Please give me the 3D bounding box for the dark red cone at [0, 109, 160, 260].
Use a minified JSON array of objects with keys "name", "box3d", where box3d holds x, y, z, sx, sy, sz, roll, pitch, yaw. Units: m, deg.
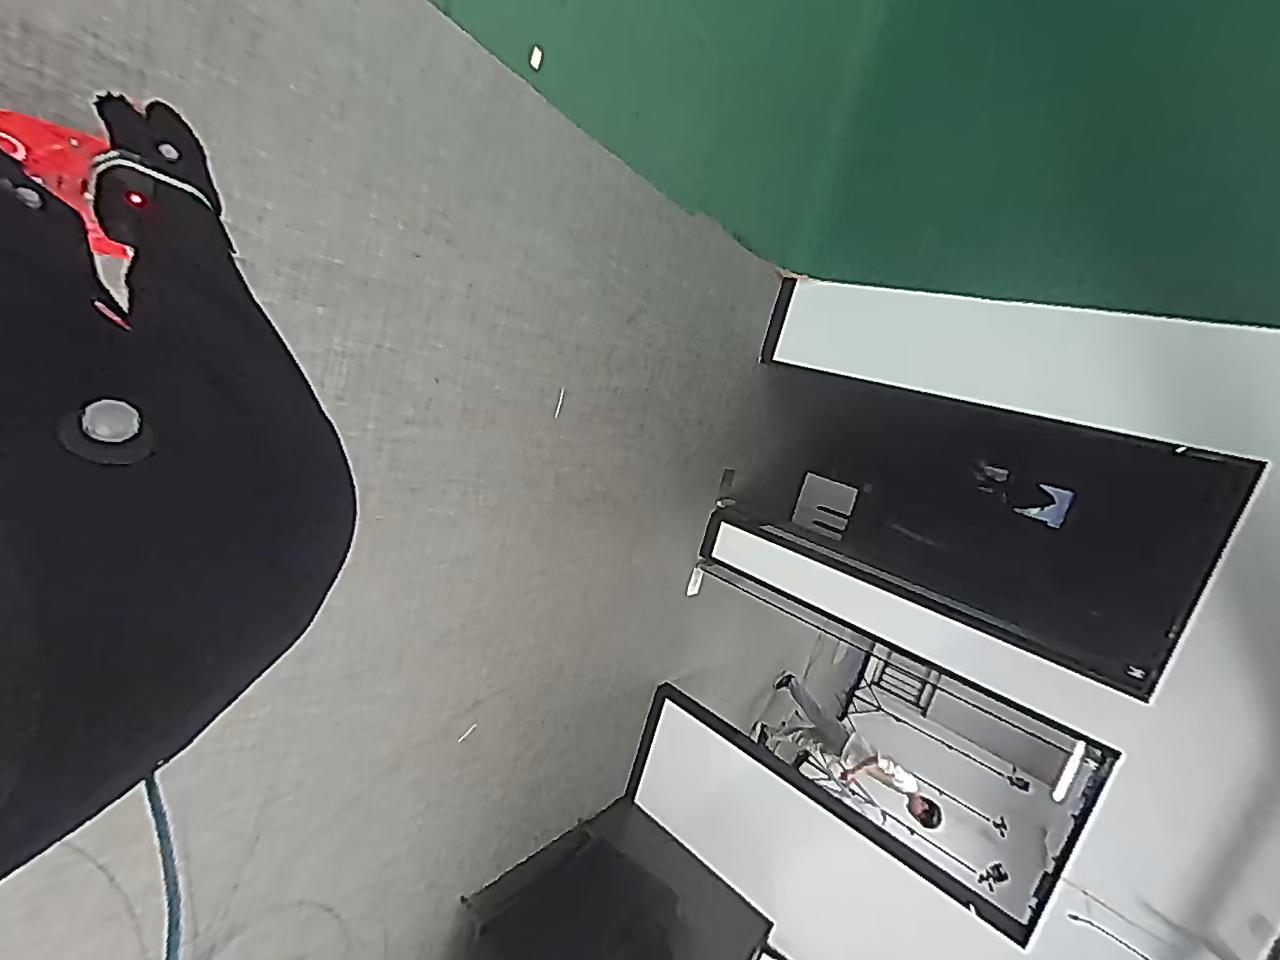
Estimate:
[{"name":"dark red cone","box3d":[-0.864,-0.465,0.864,0.202,0.394,0.201,-5,112,-51]}]
